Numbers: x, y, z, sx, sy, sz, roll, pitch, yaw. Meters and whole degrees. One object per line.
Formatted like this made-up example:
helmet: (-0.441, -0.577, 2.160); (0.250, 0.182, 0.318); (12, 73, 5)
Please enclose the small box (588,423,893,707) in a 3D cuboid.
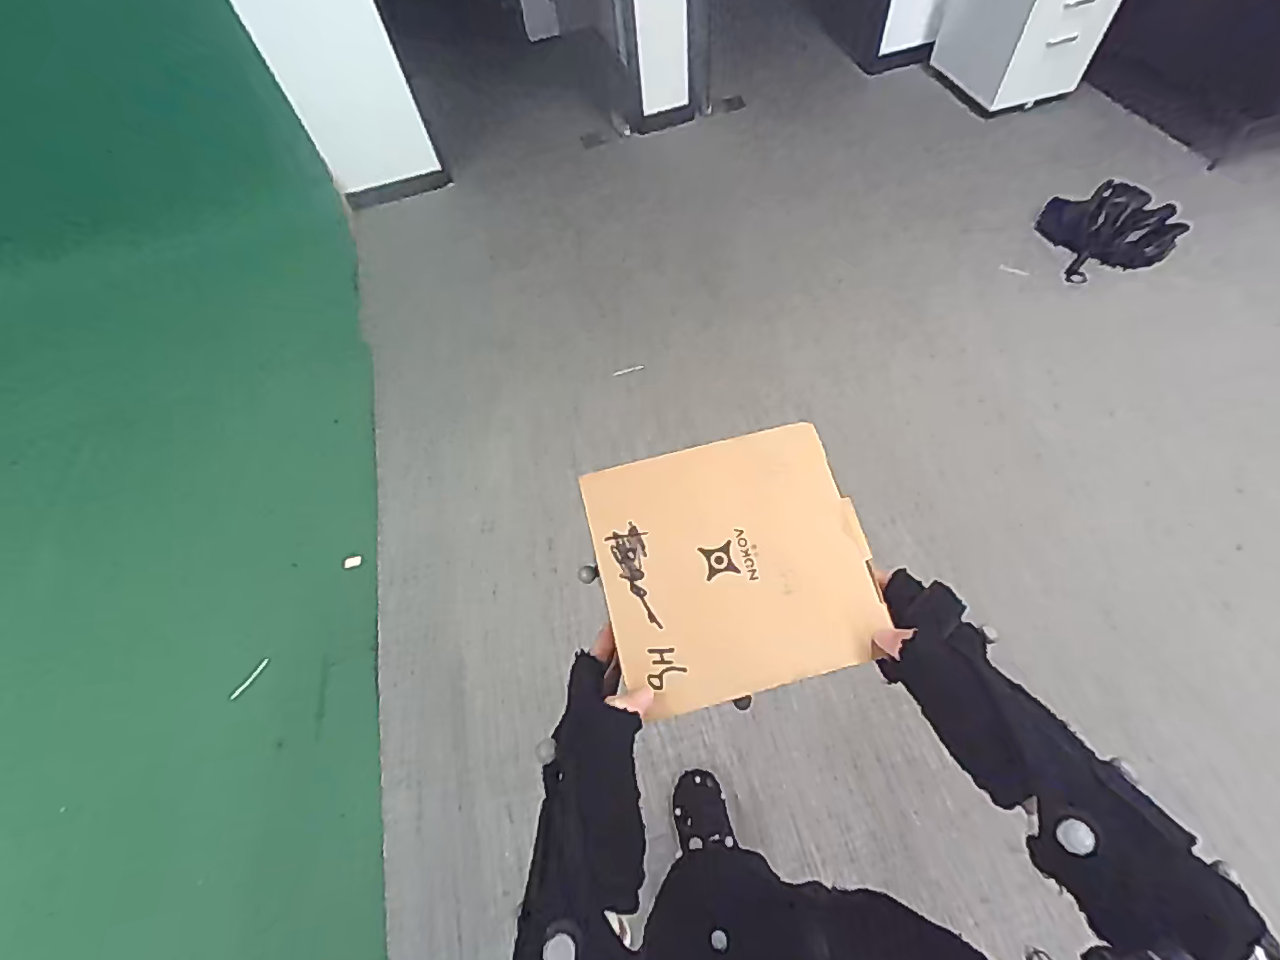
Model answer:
small box: (0.061, 0.077, 0.441); (0.179, 0.176, 0.168); (-13, 69, -5)
